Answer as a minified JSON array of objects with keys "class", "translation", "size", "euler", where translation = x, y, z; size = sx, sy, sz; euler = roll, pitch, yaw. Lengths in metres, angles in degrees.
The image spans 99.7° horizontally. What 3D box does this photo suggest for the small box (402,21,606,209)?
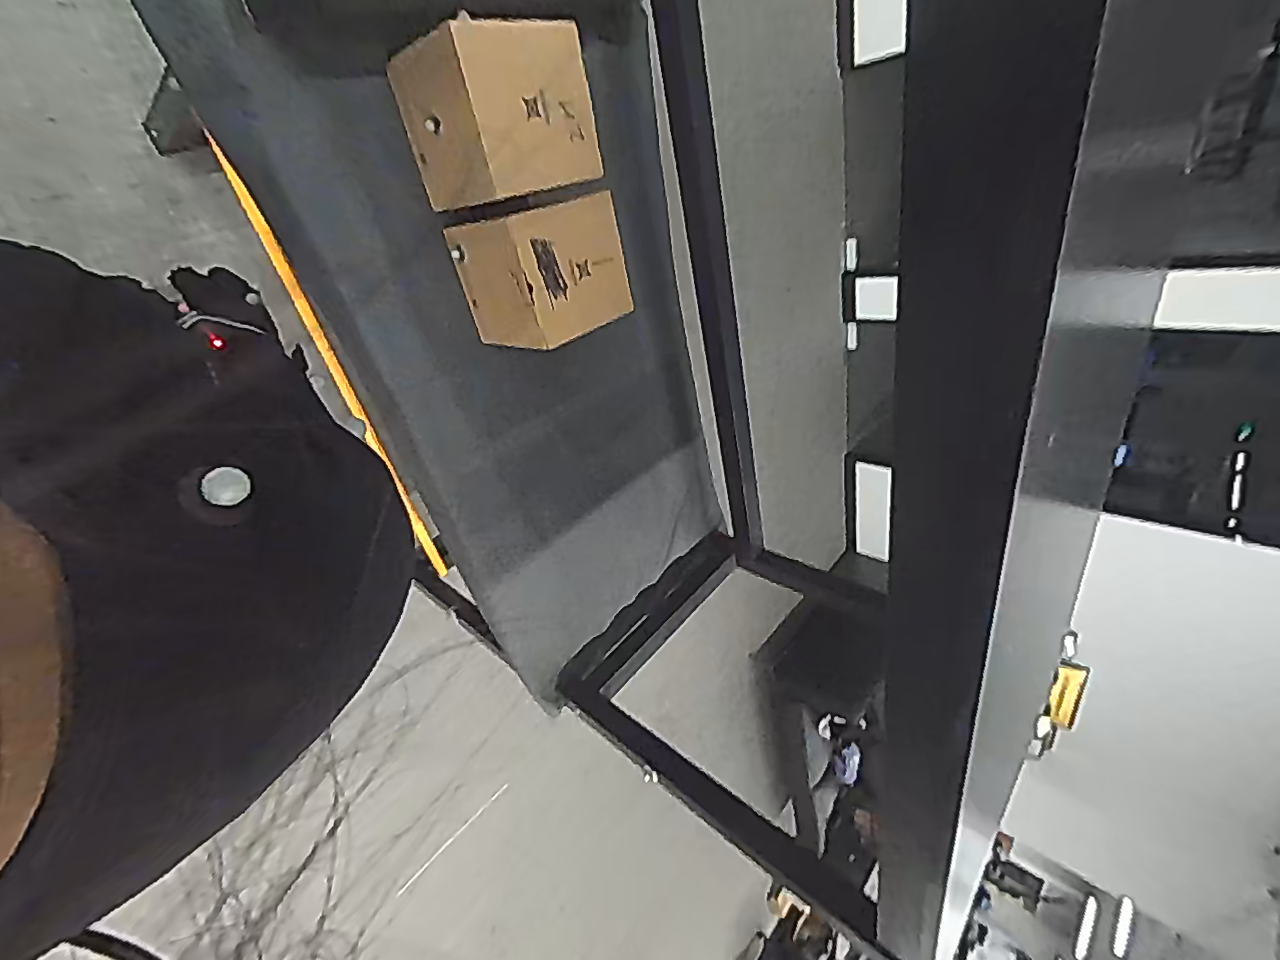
[{"class":"small box","translation":[-0.174,-0.450,0.683],"size":[0.179,0.176,0.168],"euler":[-34,128,-35]}]
